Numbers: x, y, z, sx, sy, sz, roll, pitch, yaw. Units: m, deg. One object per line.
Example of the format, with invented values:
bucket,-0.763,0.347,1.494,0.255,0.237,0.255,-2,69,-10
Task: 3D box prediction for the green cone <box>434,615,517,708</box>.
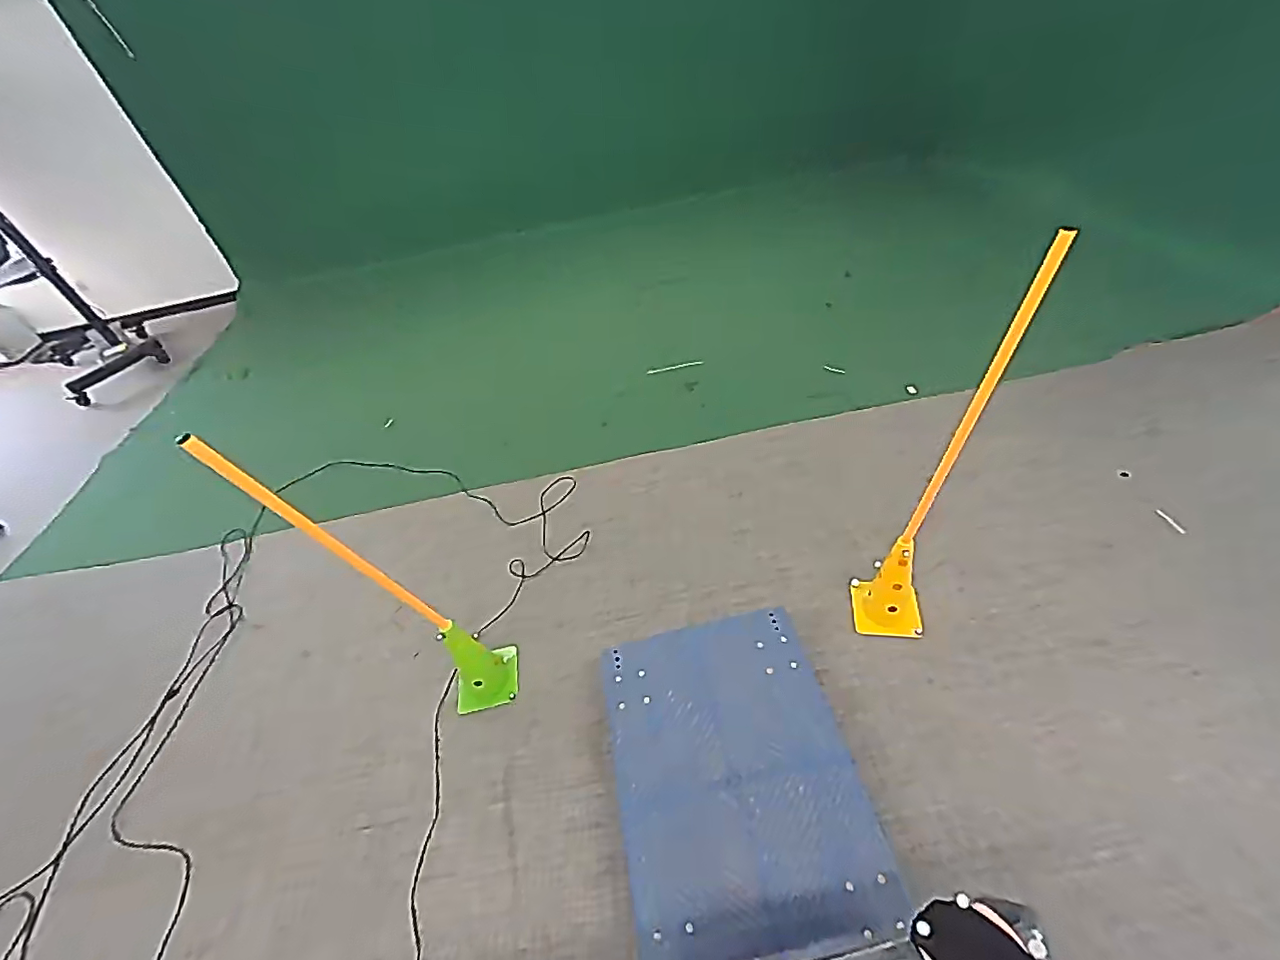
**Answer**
green cone,-0.539,0.526,1.684,0.202,0.368,0.200,-15,44,-1
